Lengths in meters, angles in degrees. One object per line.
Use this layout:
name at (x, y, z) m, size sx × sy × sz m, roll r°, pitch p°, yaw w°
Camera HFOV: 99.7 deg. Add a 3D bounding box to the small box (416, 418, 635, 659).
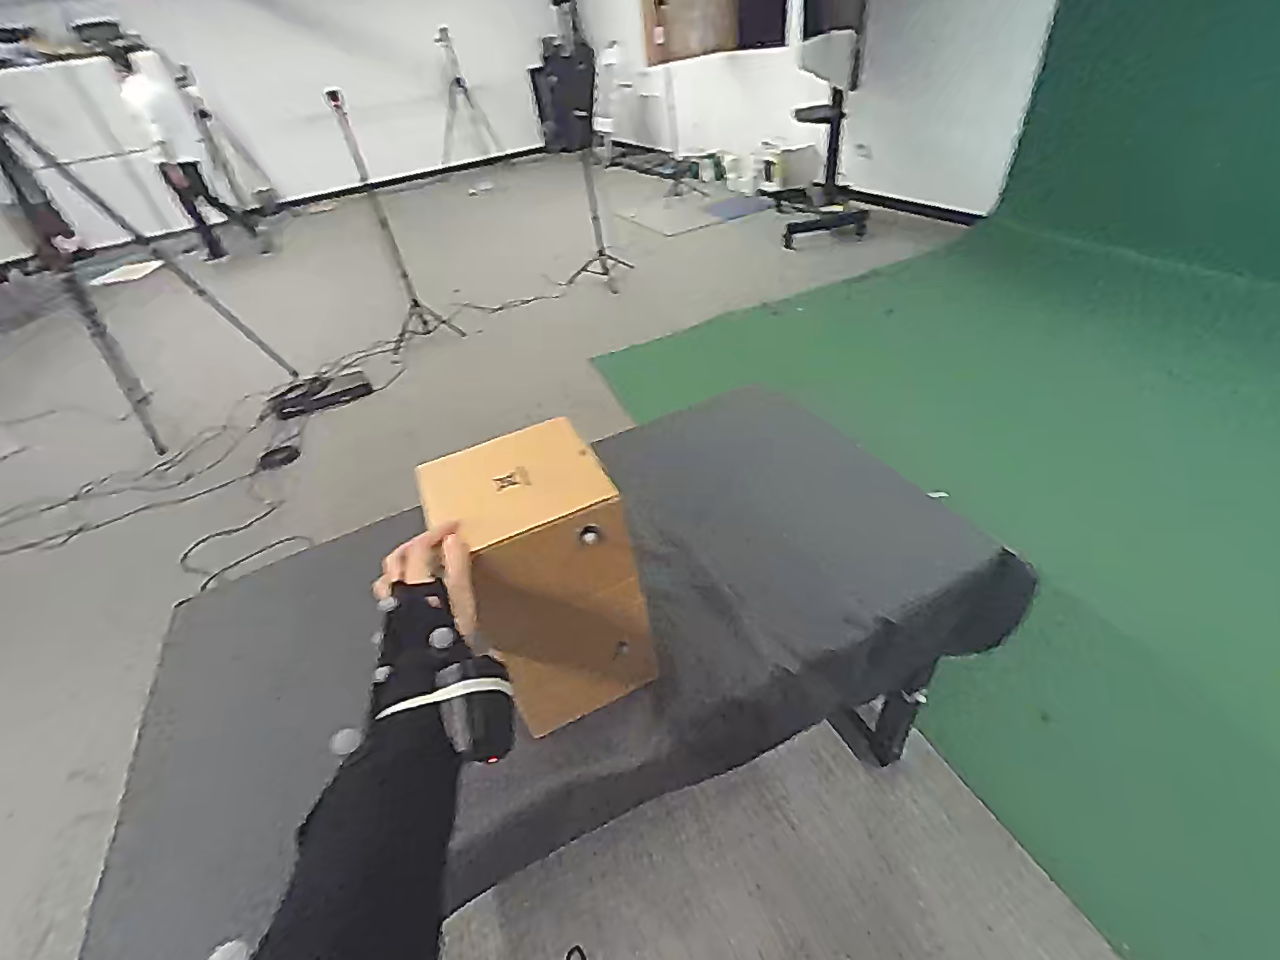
small box at (-0.121, 0.063, 0.597) m, size 0.179 × 0.176 × 0.168 m, roll -22°, pitch 41°, yaw -15°
